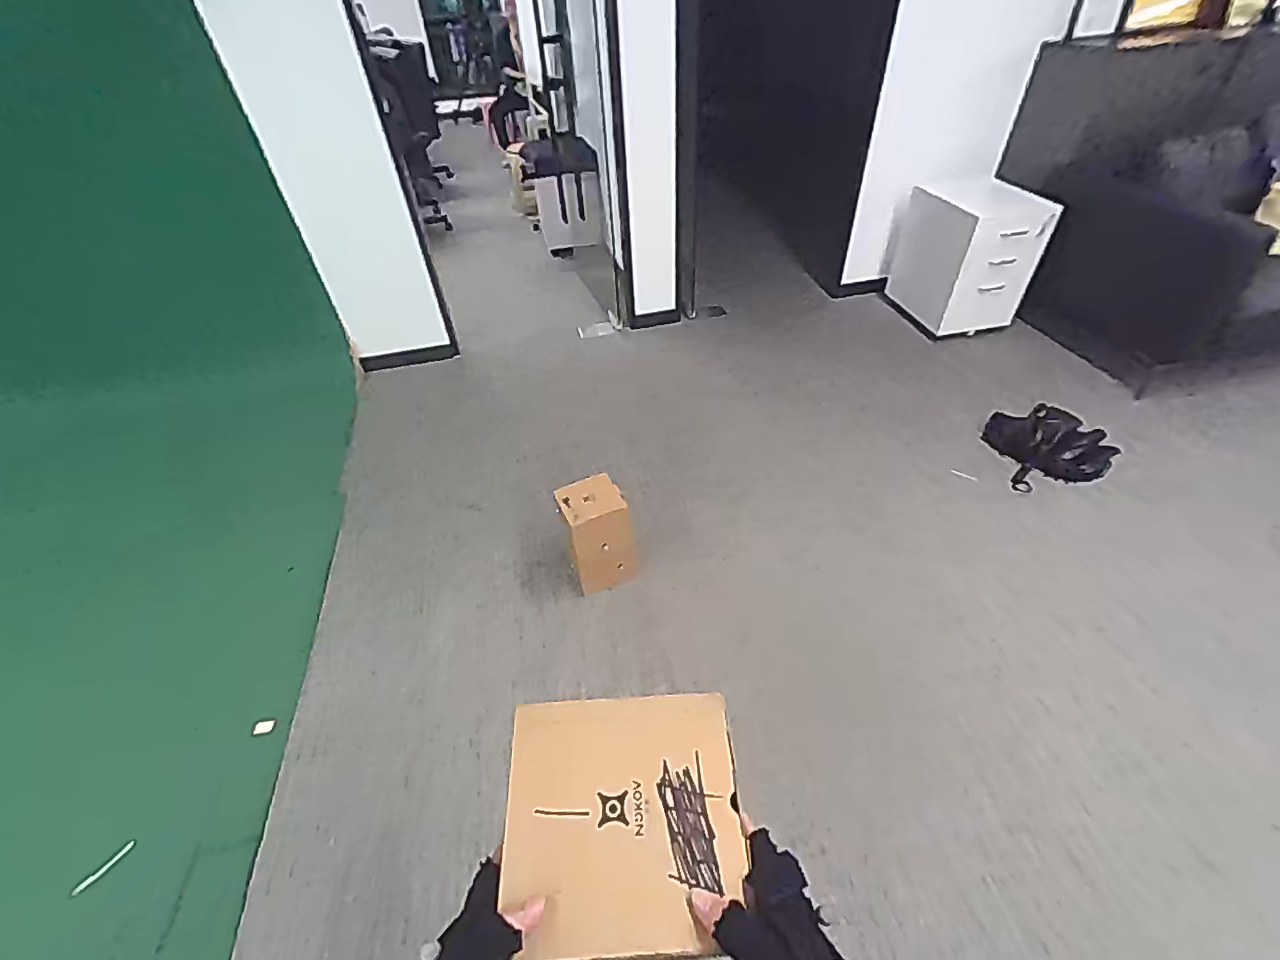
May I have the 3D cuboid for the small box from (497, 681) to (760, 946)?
[{"bbox_3d":[-0.012,0.287,0.464,0.179,0.176,0.168,-2,48,-3],"label":"small box"}]

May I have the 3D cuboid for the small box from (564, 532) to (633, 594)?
[{"bbox_3d":[-0.129,0.233,1.735,0.179,0.176,0.168,-21,45,-15],"label":"small box"}]

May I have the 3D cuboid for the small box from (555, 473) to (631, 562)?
[{"bbox_3d":[-0.137,0.114,1.627,0.179,0.176,0.168,-22,47,-17],"label":"small box"}]
